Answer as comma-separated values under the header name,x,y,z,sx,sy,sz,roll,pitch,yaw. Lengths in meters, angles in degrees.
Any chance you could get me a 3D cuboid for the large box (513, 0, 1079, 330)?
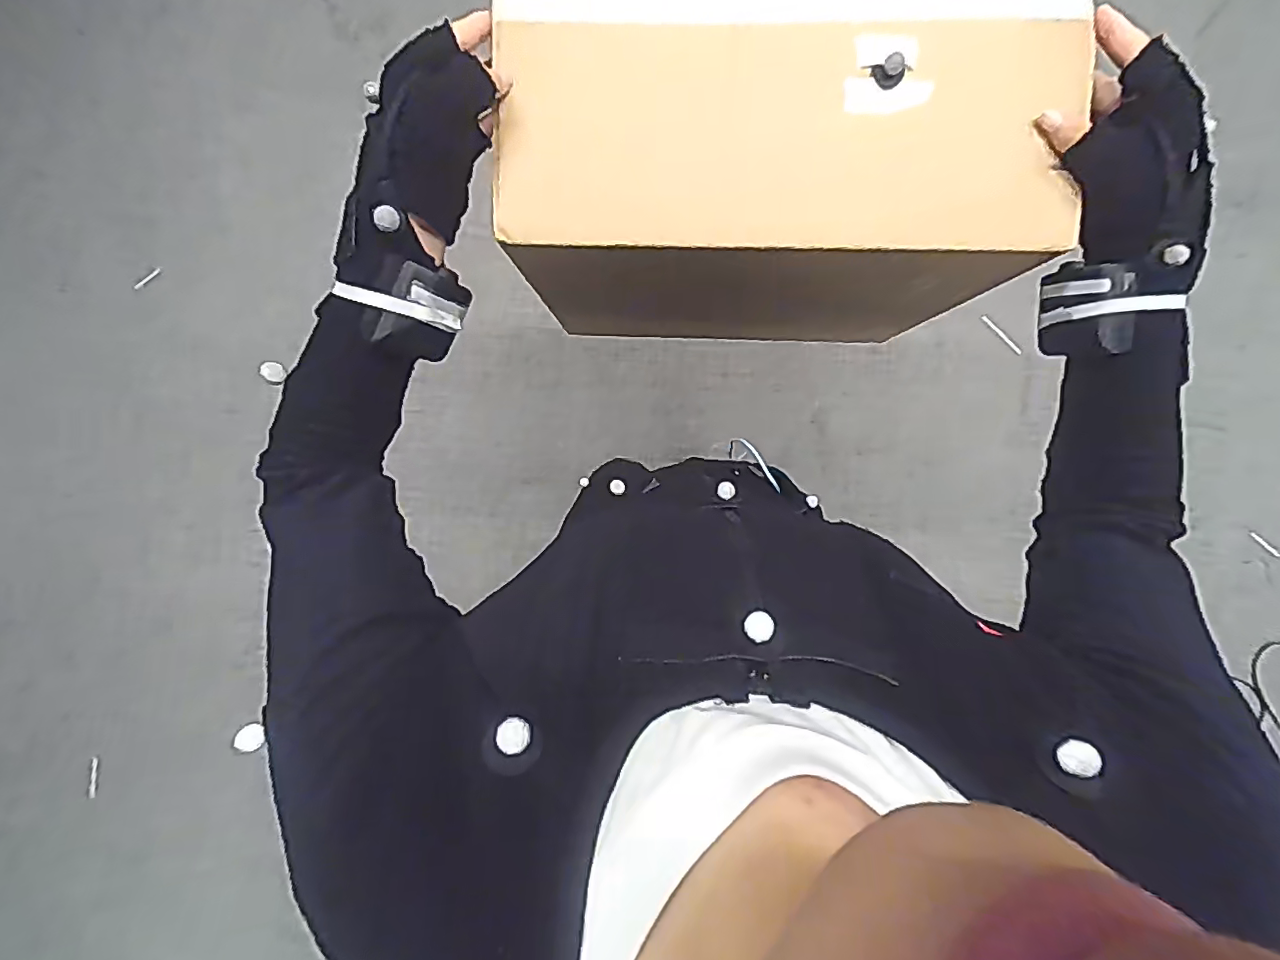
name,x,y,z,sx,sy,sz,roll,pitch,yaw
large box,0.107,-0.336,0.528,0.408,0.320,0.320,1,94,1
